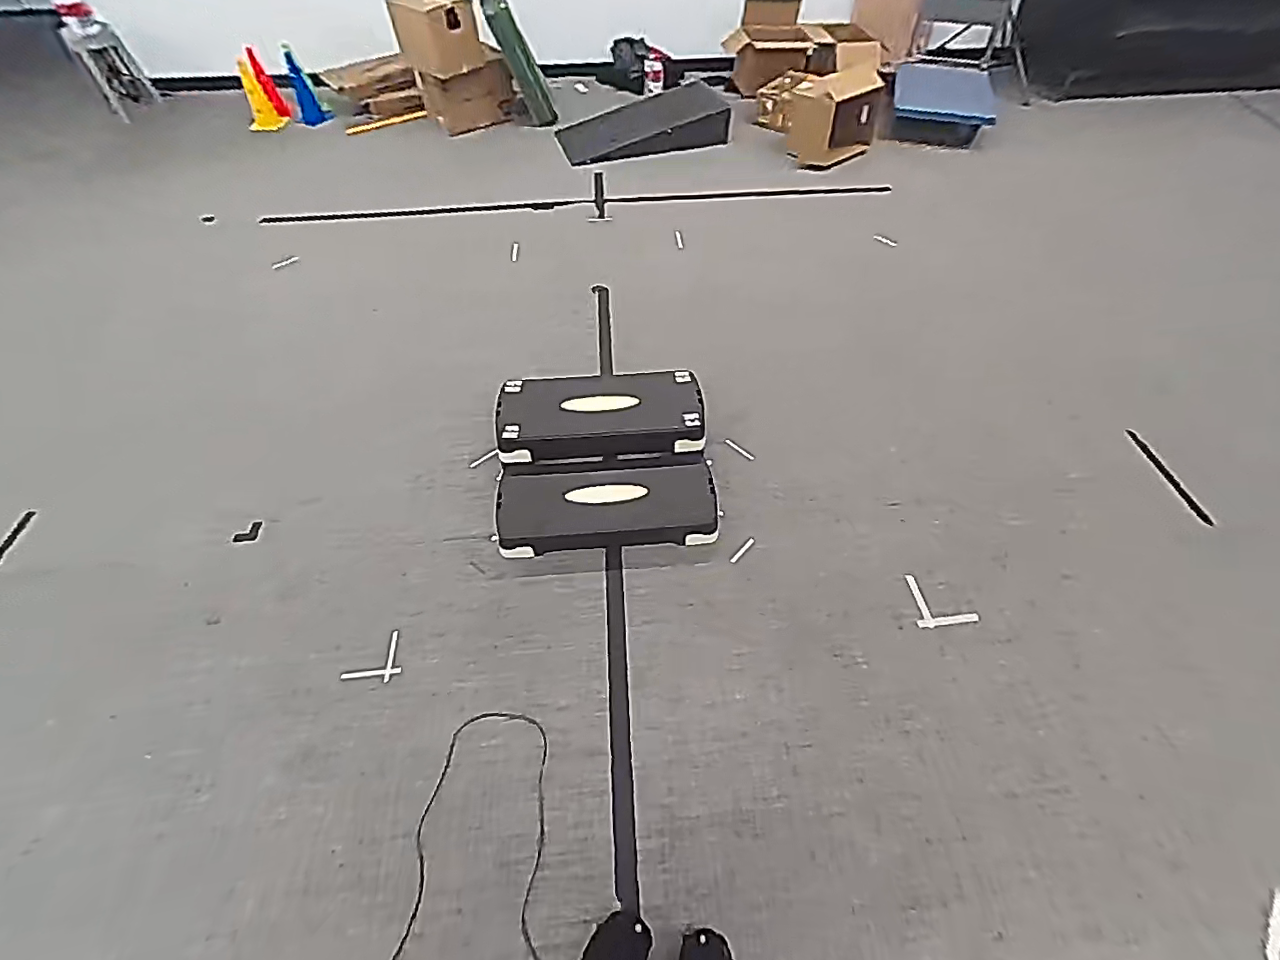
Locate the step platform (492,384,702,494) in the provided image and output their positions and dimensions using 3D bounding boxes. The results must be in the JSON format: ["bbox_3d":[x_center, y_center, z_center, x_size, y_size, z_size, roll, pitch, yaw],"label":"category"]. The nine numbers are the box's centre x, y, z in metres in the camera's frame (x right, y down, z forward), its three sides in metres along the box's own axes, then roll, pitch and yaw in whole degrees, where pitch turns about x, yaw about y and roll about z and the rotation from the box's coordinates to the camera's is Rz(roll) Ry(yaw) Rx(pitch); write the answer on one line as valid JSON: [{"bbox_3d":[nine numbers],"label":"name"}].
[{"bbox_3d":[-0.138,-0.143,1.798,0.684,0.204,0.286,-4,53,-4],"label":"step platform"}]
